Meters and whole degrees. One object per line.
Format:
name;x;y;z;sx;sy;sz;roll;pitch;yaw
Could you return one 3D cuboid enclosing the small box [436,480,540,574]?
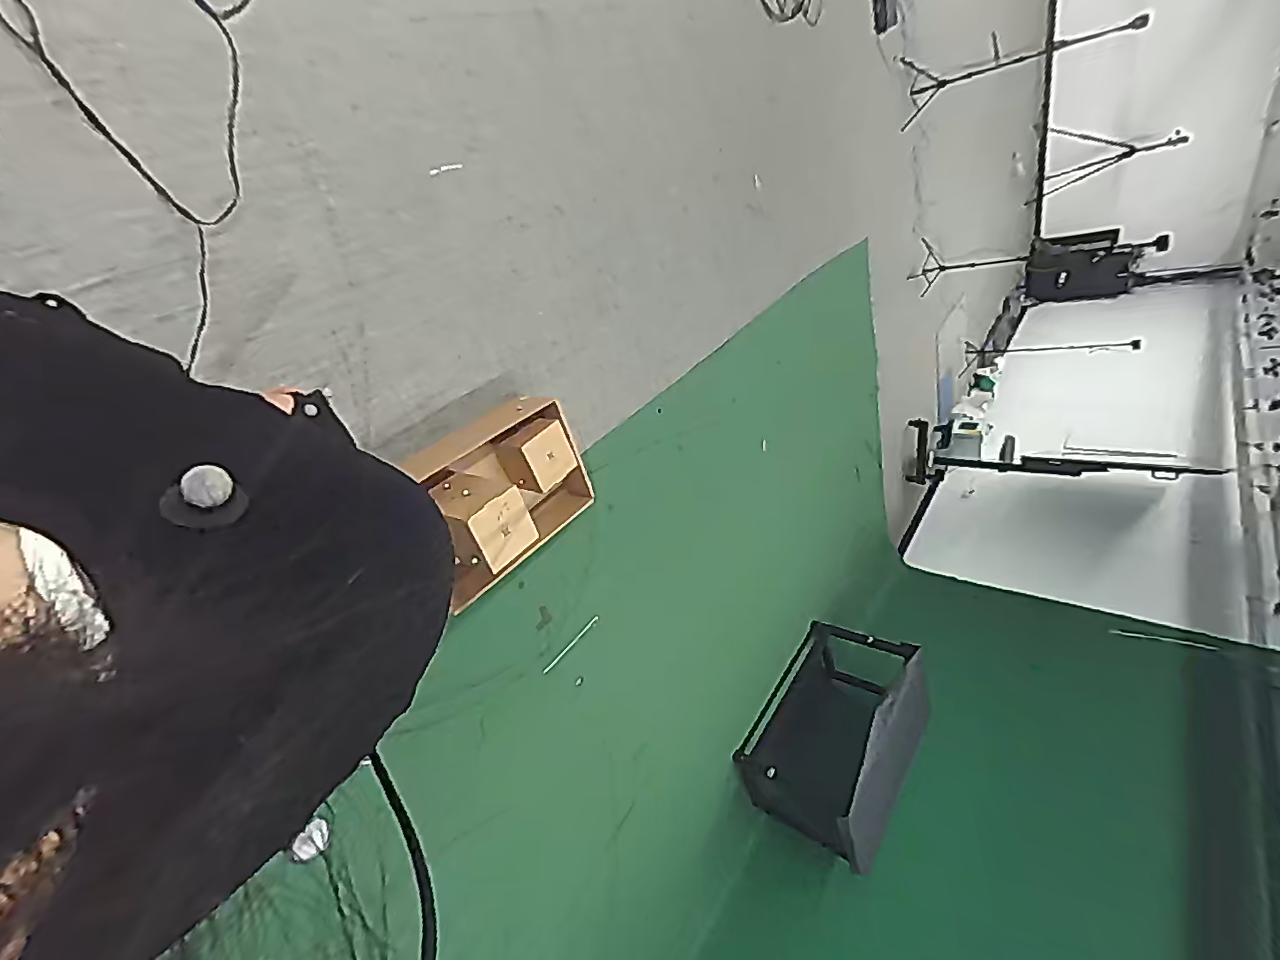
small box;-0.403;0.118;1.433;0.168;0.176;0.179;-42;126;-37
